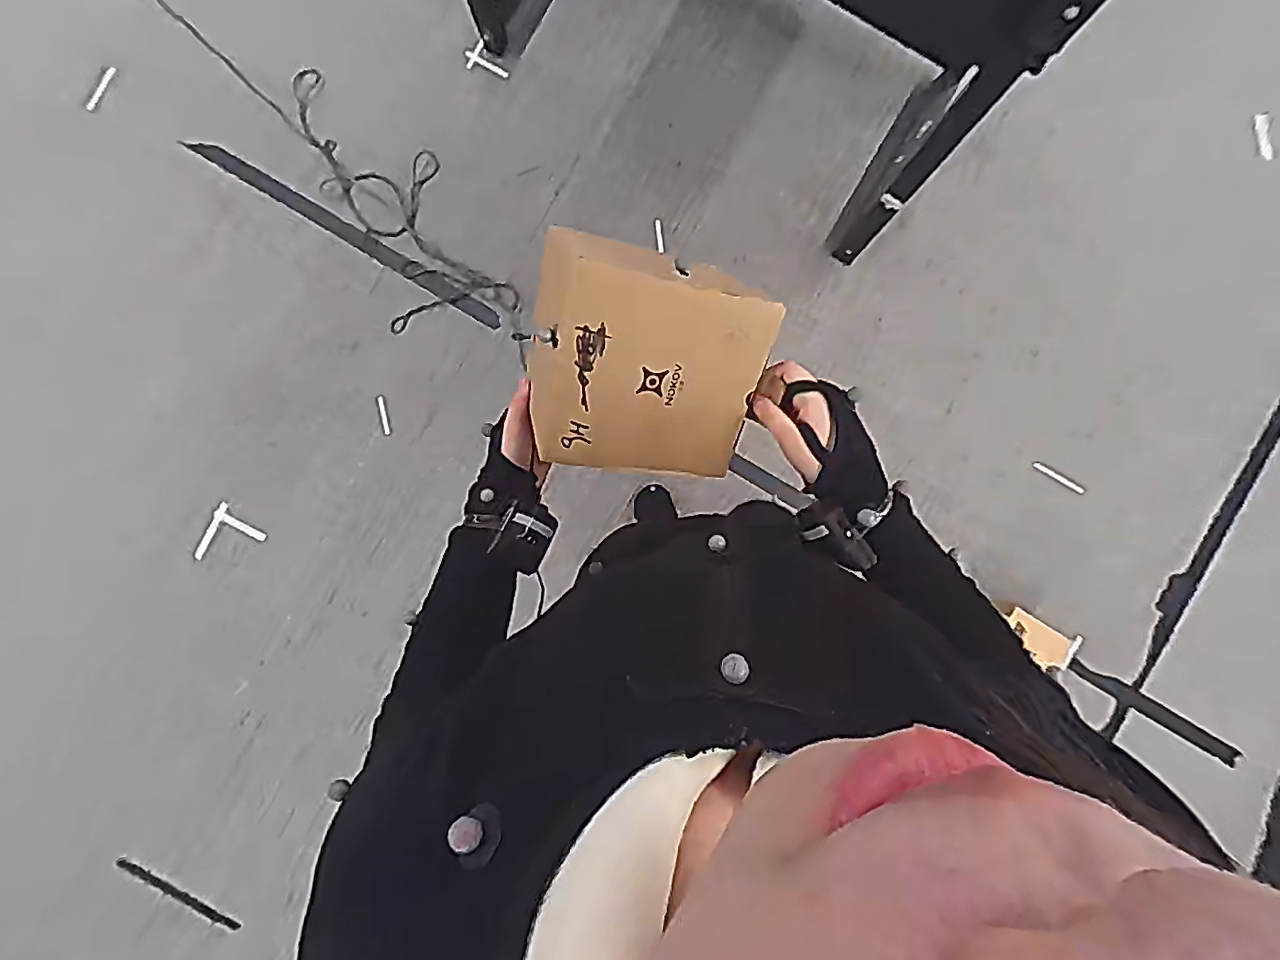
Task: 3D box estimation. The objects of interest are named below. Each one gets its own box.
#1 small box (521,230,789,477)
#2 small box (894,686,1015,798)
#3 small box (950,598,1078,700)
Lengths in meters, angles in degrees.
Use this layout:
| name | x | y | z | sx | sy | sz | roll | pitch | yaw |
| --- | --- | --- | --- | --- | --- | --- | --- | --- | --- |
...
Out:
| name | x | y | z | sx | sy | sz | roll | pitch | yaw |
| --- | --- | --- | --- | --- | --- | --- | --- | --- | --- |
| small box | -0.003 | -0.119 | 0.496 | 0.179 | 0.176 | 0.168 | 4 | 118 | -21 |
| small box | 0.798 | 0.661 | 1.396 | 0.179 | 0.176 | 0.168 | 35 | 91 | 0 |
| small box | 0.950 | 0.423 | 1.392 | 0.179 | 0.176 | 0.168 | 32 | 91 | 0 |
